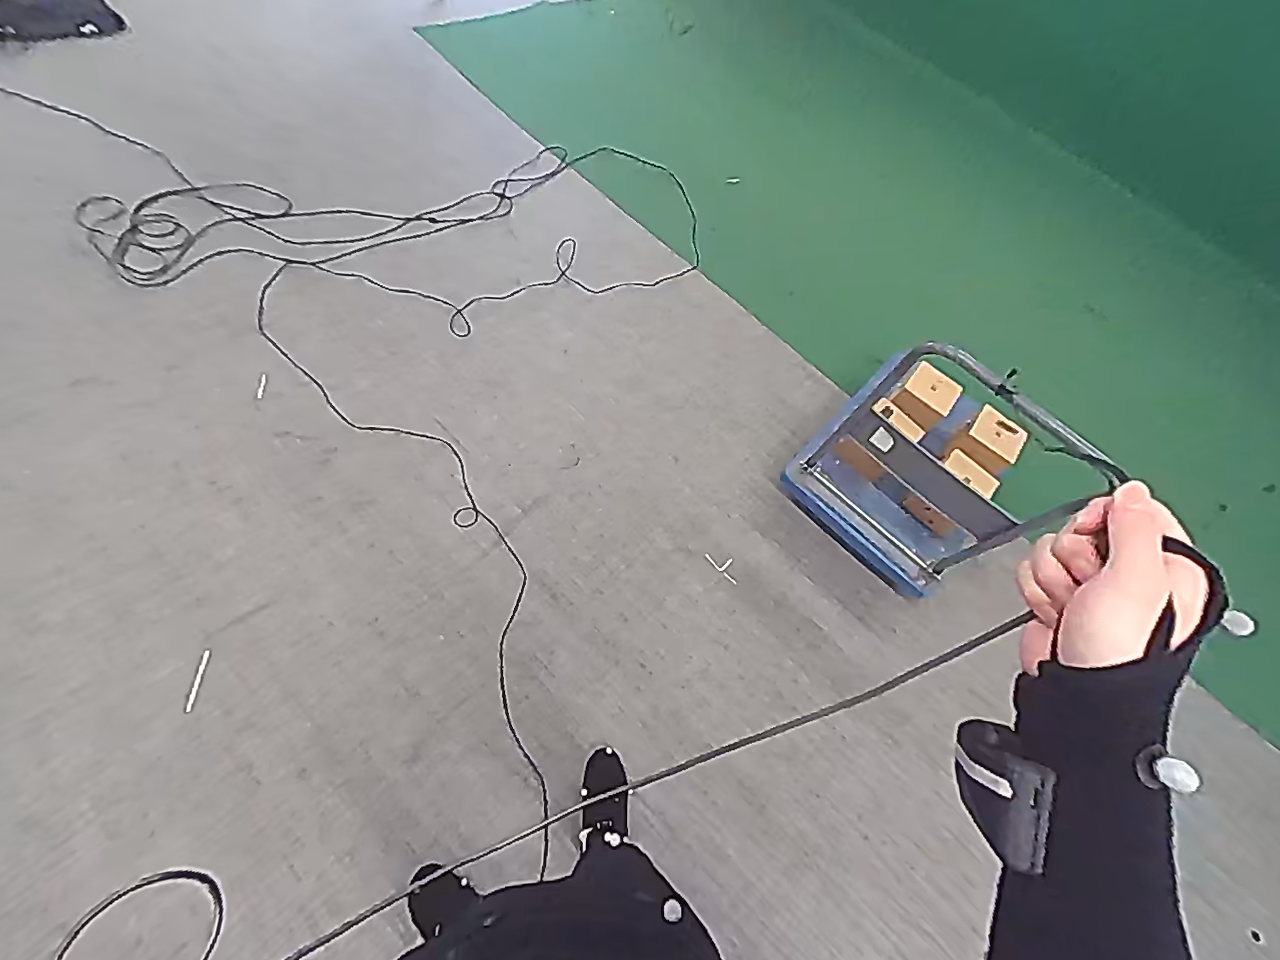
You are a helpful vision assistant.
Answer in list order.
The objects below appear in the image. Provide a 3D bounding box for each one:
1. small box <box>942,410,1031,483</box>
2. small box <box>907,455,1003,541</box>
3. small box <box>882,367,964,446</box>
[{"bbox_3d":[1.170,-0.096,1.836,0.168,0.176,0.179,39,61,12],"label":"small box"},{"bbox_3d":[0.988,0.059,1.710,0.168,0.176,0.179,44,62,13],"label":"small box"},{"bbox_3d":[0.977,-0.251,1.883,0.168,0.176,0.179,40,61,10],"label":"small box"}]
